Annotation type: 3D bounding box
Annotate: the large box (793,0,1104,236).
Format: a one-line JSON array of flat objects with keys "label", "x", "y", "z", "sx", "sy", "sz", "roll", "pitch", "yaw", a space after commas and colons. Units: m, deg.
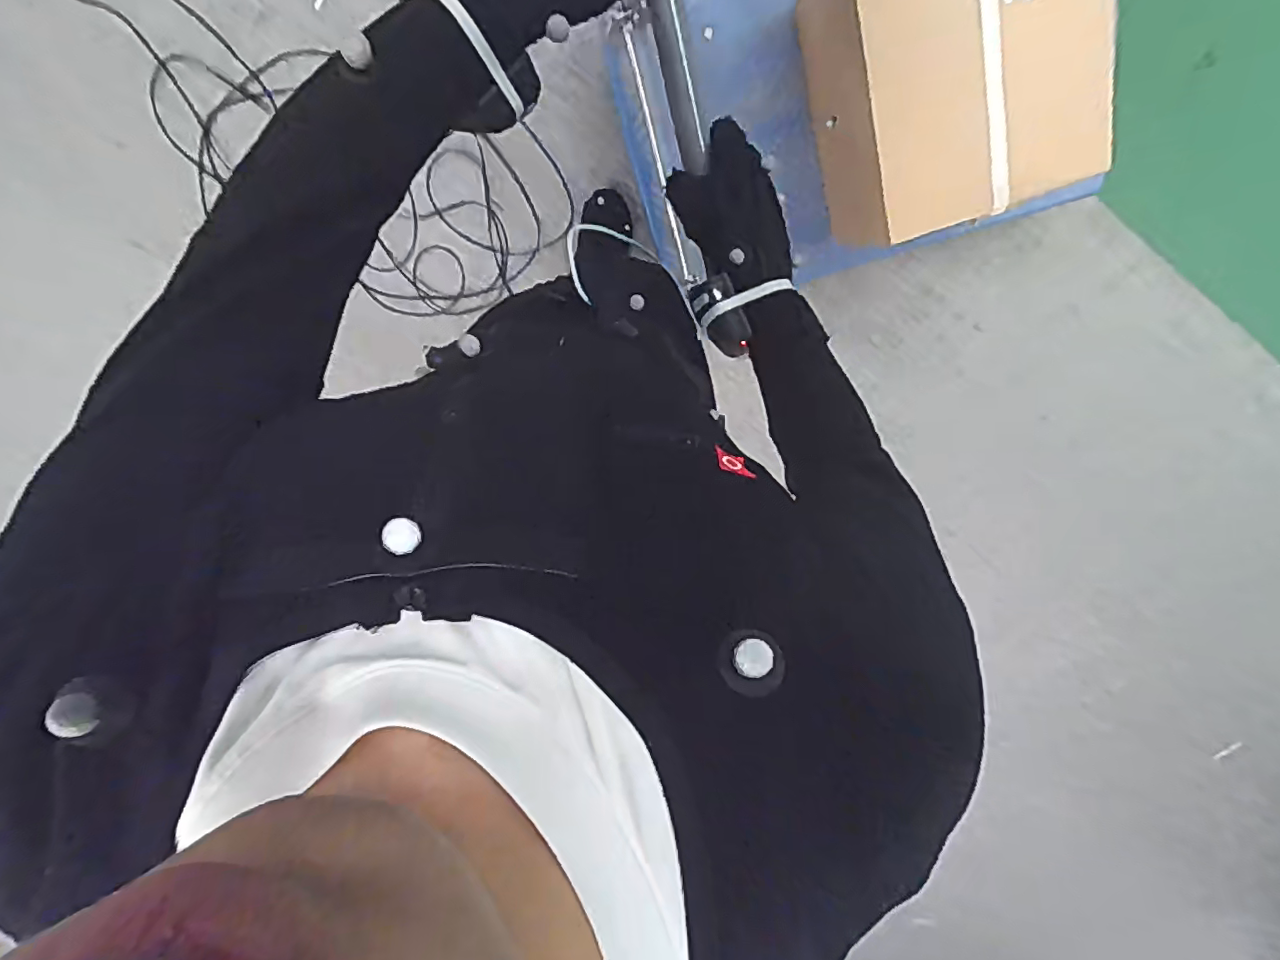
[{"label": "large box", "x": 0.467, "y": -0.652, "z": 0.868, "sx": 0.320, "sy": 0.320, "sz": 0.408, "roll": -17, "pitch": 113, "yaw": 9}]
